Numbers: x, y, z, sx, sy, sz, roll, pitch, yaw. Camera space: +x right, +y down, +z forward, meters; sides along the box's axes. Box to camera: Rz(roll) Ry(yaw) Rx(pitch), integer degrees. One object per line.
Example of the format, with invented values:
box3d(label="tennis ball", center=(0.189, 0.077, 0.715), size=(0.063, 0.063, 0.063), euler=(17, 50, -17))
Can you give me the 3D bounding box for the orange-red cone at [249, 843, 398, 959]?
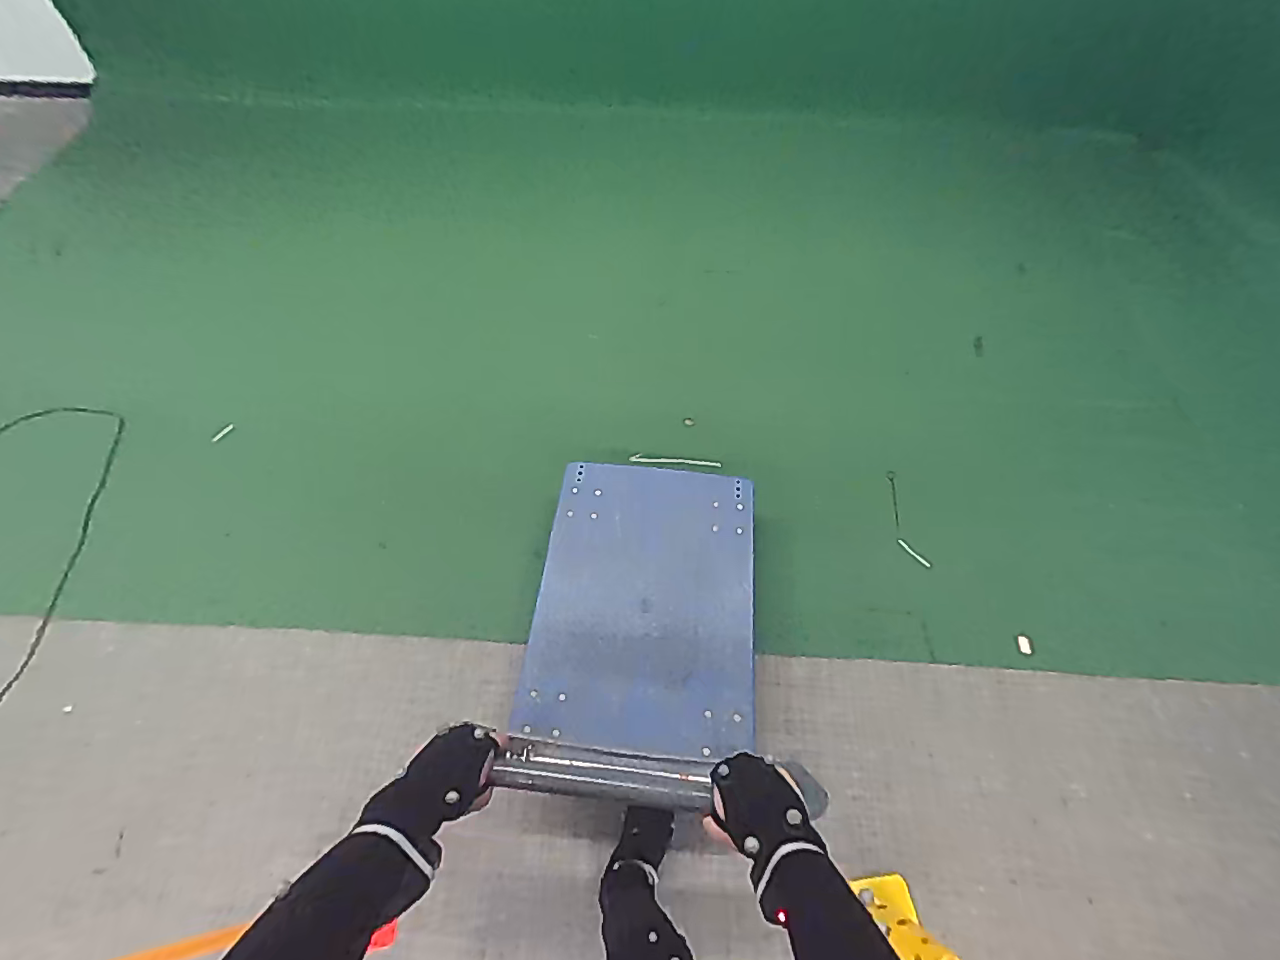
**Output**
box3d(label="orange-red cone", center=(-0.658, 0.865, 1.083), size=(0.199, 0.360, 0.198), euler=(-10, 58, -5))
